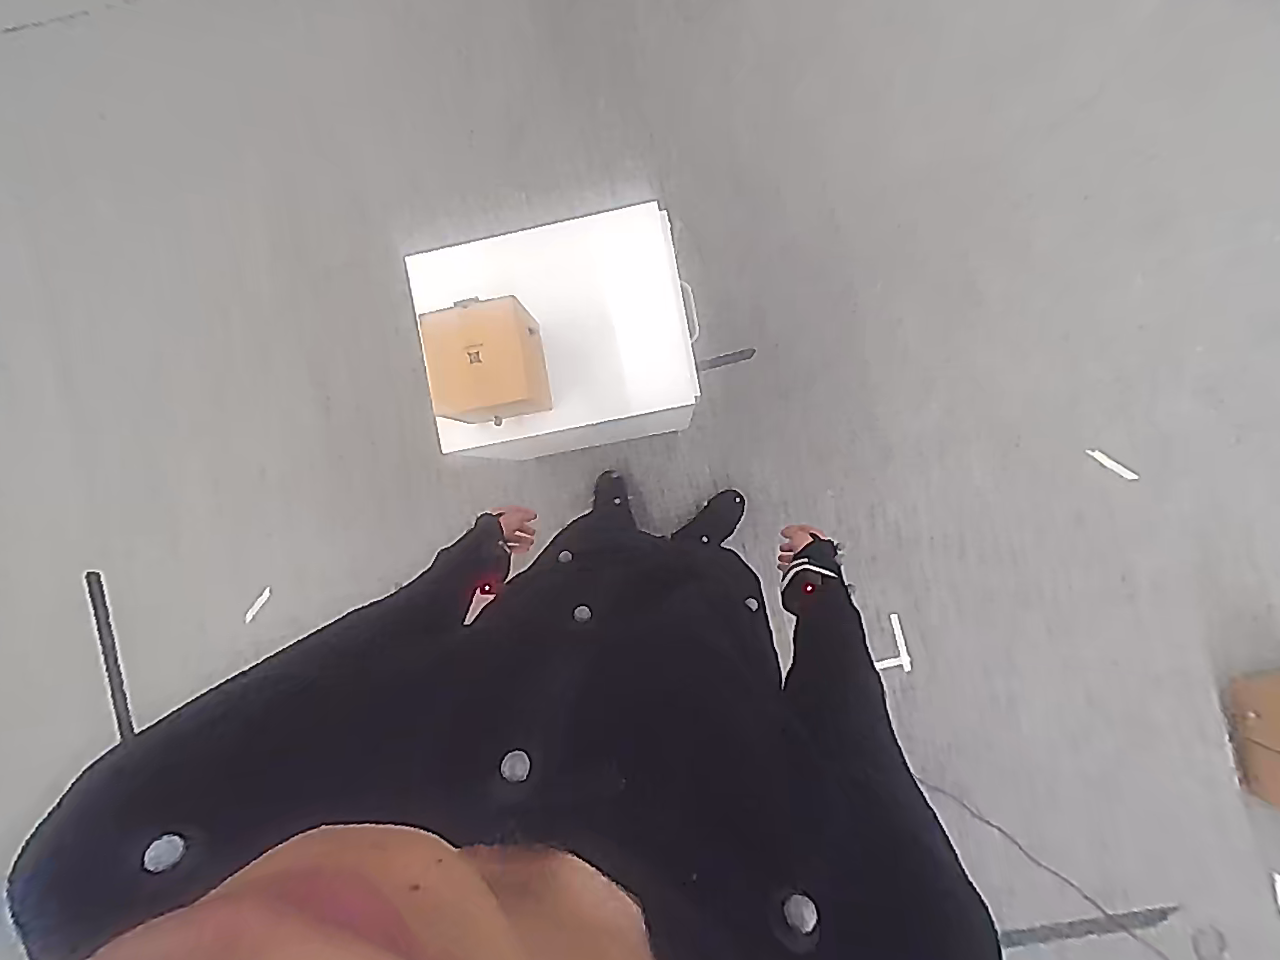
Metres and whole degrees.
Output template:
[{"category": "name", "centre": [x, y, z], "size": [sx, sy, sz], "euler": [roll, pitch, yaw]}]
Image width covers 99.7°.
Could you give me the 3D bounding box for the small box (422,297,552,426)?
[{"category": "small box", "centre": [-0.265, -0.203, 0.969], "size": [0.168, 0.176, 0.179], "euler": [-10, 90, 4]}]
